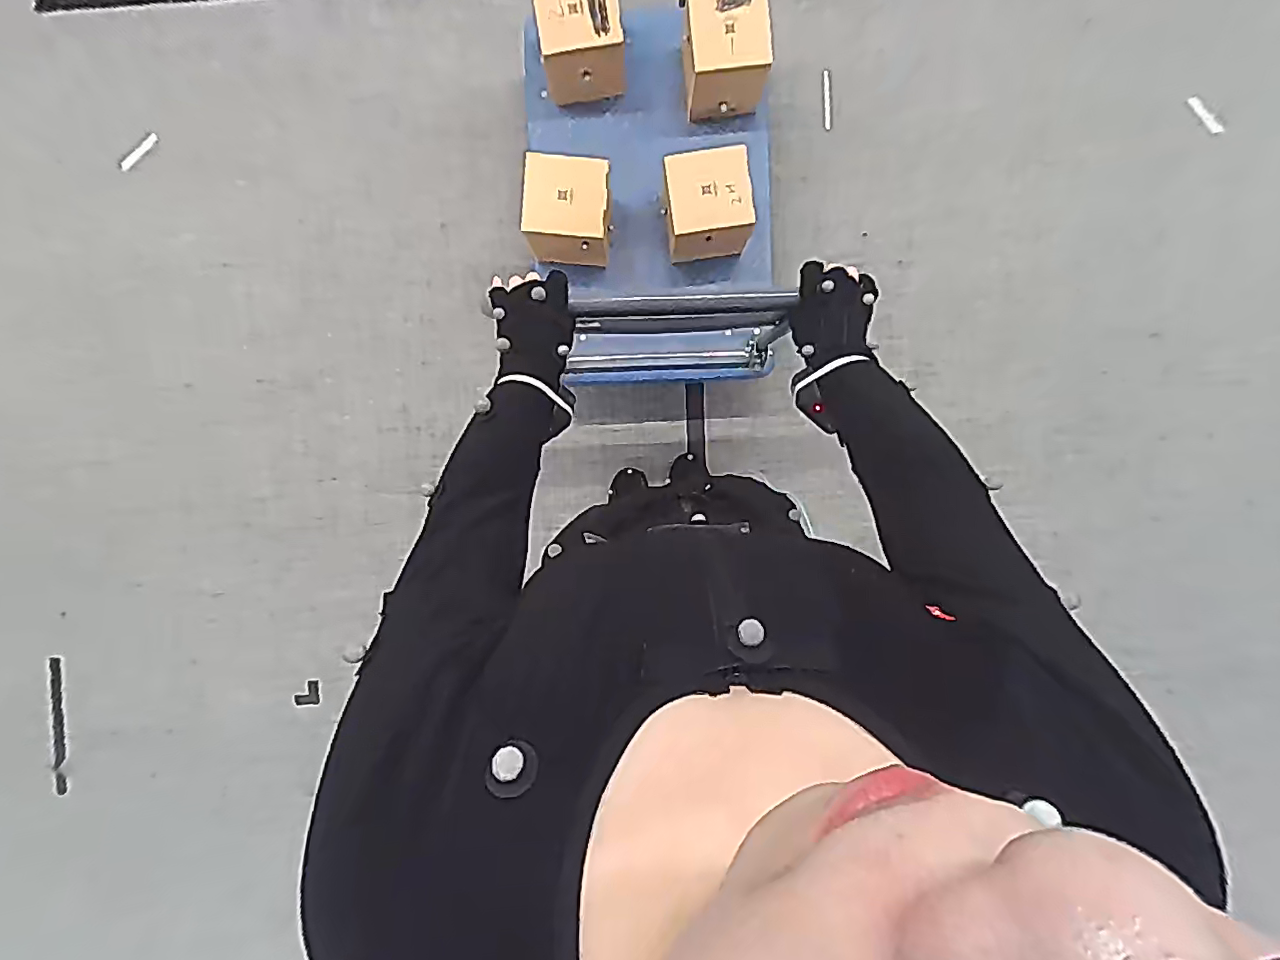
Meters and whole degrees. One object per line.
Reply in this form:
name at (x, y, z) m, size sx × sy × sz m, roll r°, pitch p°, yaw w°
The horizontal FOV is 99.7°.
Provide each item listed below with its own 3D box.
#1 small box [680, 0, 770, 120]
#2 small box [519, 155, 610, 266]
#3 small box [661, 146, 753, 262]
small box at (0.181, -0.939, 1.191) m, size 0.168 × 0.176 × 0.179 m, roll -6°, pitch 94°, yaw 1°
small box at (-0.162, -0.592, 1.208) m, size 0.179 × 0.176 × 0.168 m, roll 4°, pitch 92°, yaw -1°
small box at (0.142, -0.604, 1.206) m, size 0.179 × 0.176 × 0.168 m, roll -8°, pitch 93°, yaw 1°
